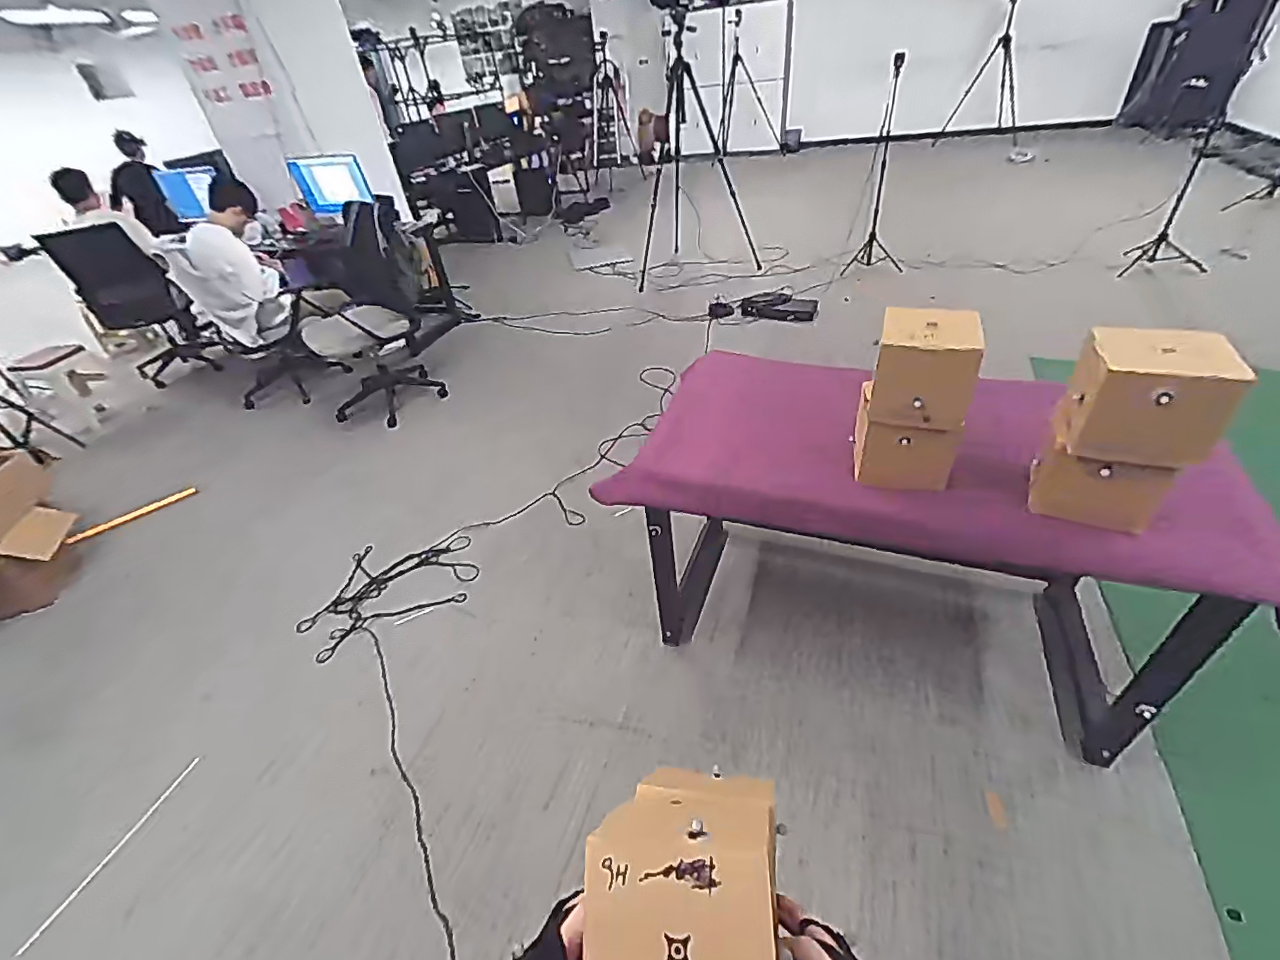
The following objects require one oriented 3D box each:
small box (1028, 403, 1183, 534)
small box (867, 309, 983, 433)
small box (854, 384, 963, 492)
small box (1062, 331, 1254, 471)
[{"bbox_3d":[0.861,-0.022,1.014,0.179,0.176,0.168,15,42,28],"label":"small box"},{"bbox_3d":[0.543,-0.214,1.046,0.168,0.176,0.179,10,41,21],"label":"small box"},{"bbox_3d":[0.559,-0.091,1.154,0.179,0.176,0.168,5,40,15],"label":"small box"},{"bbox_3d":[0.830,-0.133,0.895,0.179,0.176,0.168,11,41,24],"label":"small box"}]
